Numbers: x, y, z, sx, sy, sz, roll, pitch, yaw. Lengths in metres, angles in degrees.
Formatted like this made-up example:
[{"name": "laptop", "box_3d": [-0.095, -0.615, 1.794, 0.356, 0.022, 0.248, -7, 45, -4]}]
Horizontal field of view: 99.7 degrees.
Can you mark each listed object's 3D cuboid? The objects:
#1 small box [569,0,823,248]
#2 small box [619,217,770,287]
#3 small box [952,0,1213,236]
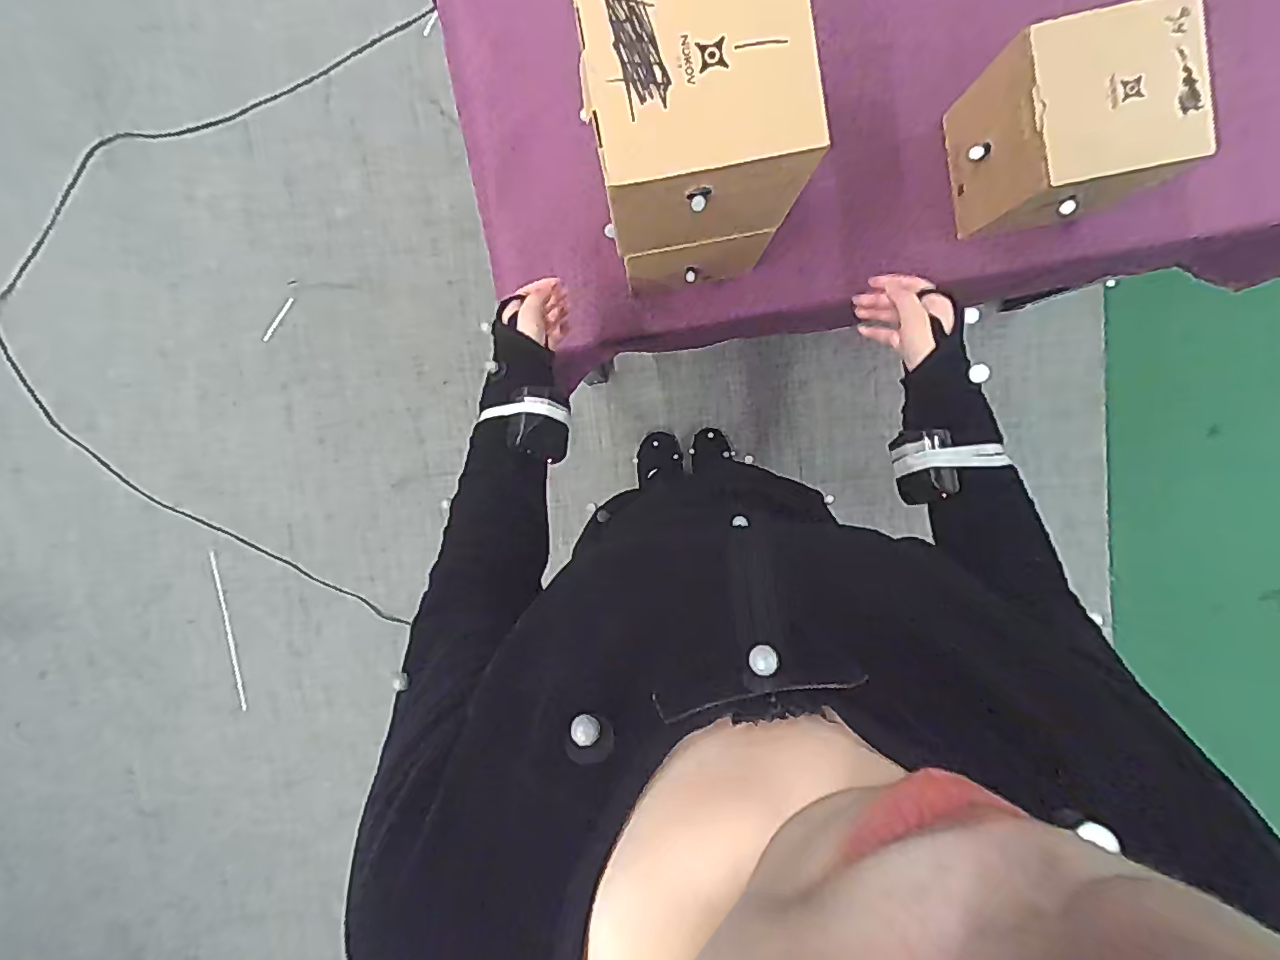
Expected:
[{"name": "small box", "box_3d": [0.045, -0.328, 0.488, 0.179, 0.176, 0.168, -10, 95, 2]}, {"name": "small box", "box_3d": [0.050, -0.345, 0.652, 0.168, 0.176, 0.179, -9, 95, 2]}, {"name": "small box", "box_3d": [0.493, -0.407, 0.633, 0.179, 0.176, 0.168, -10, 95, 3]}]
